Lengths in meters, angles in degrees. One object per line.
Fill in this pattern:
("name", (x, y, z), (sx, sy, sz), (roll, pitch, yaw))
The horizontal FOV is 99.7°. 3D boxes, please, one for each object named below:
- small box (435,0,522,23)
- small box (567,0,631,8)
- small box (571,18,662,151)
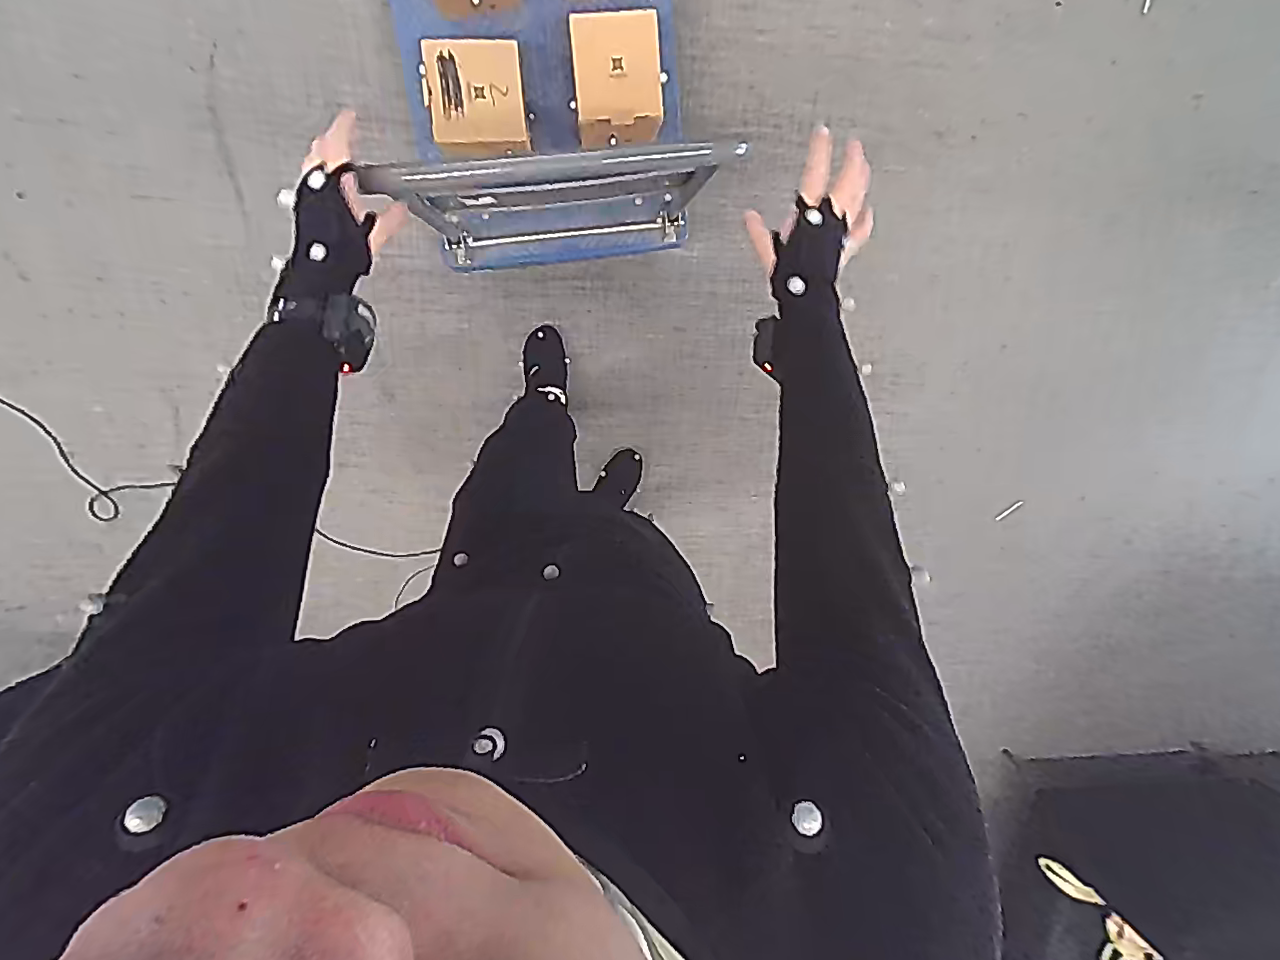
("small box", (-0.329, -1.014, 1.028), (0.168, 0.176, 0.179), (-11, 107, -3))
("small box", (-0.082, -1.064, 1.038), (0.168, 0.176, 0.179), (-11, 109, -2))
("small box", (-0.052, -0.808, 1.120), (0.168, 0.176, 0.179), (-7, 108, -4))
